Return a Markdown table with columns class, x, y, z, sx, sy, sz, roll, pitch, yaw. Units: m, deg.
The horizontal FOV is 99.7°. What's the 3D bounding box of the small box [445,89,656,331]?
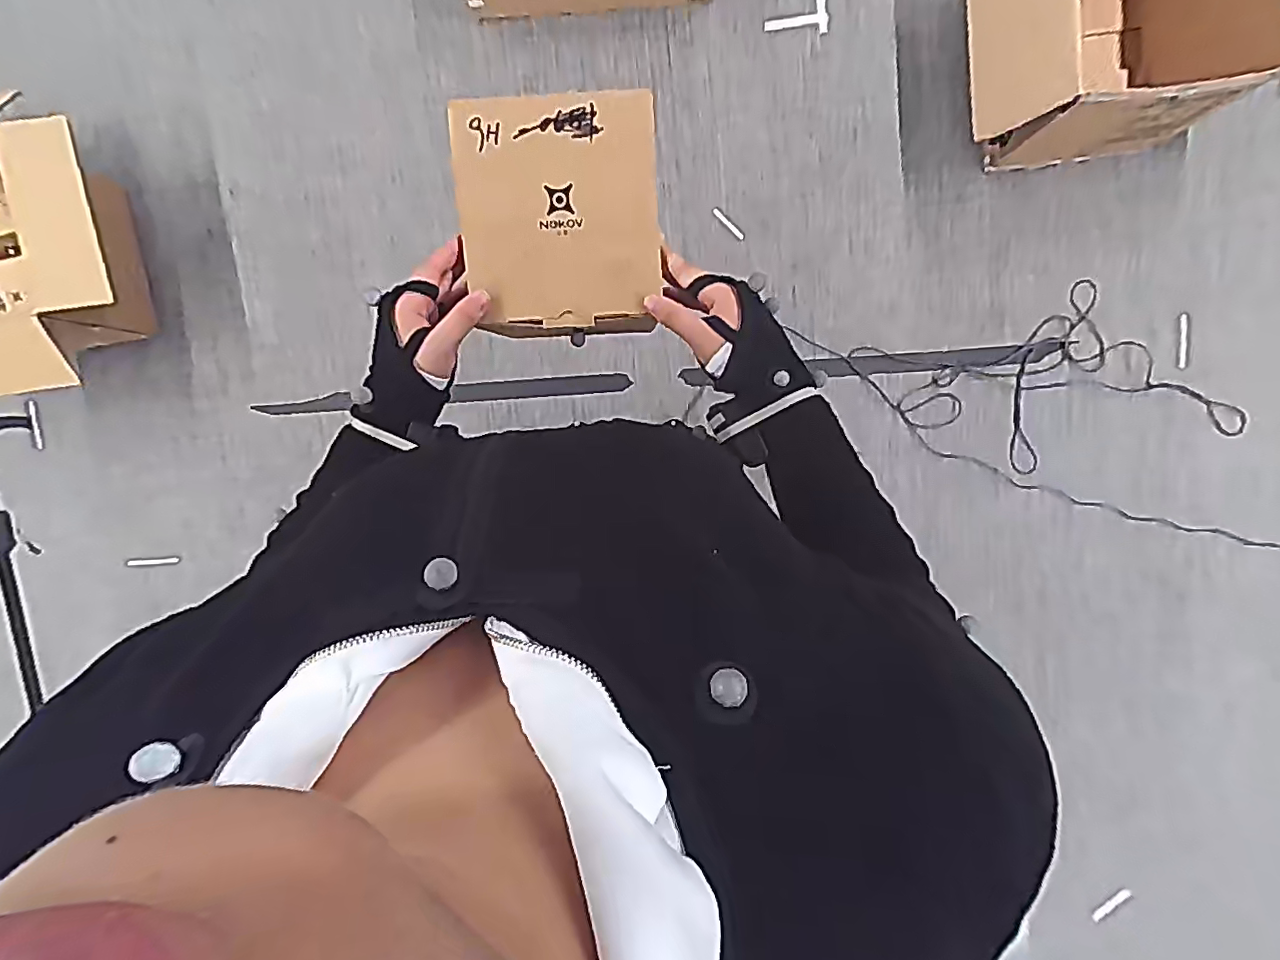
| class | x | y | z | sx | sy | sz | roll | pitch | yaw |
| --- | --- | --- | --- | --- | --- | --- | --- | --- | --- |
| small box | -0.071 | -0.238 | 0.523 | 0.168 | 0.176 | 0.179 | -4 | 102 | -1 |
